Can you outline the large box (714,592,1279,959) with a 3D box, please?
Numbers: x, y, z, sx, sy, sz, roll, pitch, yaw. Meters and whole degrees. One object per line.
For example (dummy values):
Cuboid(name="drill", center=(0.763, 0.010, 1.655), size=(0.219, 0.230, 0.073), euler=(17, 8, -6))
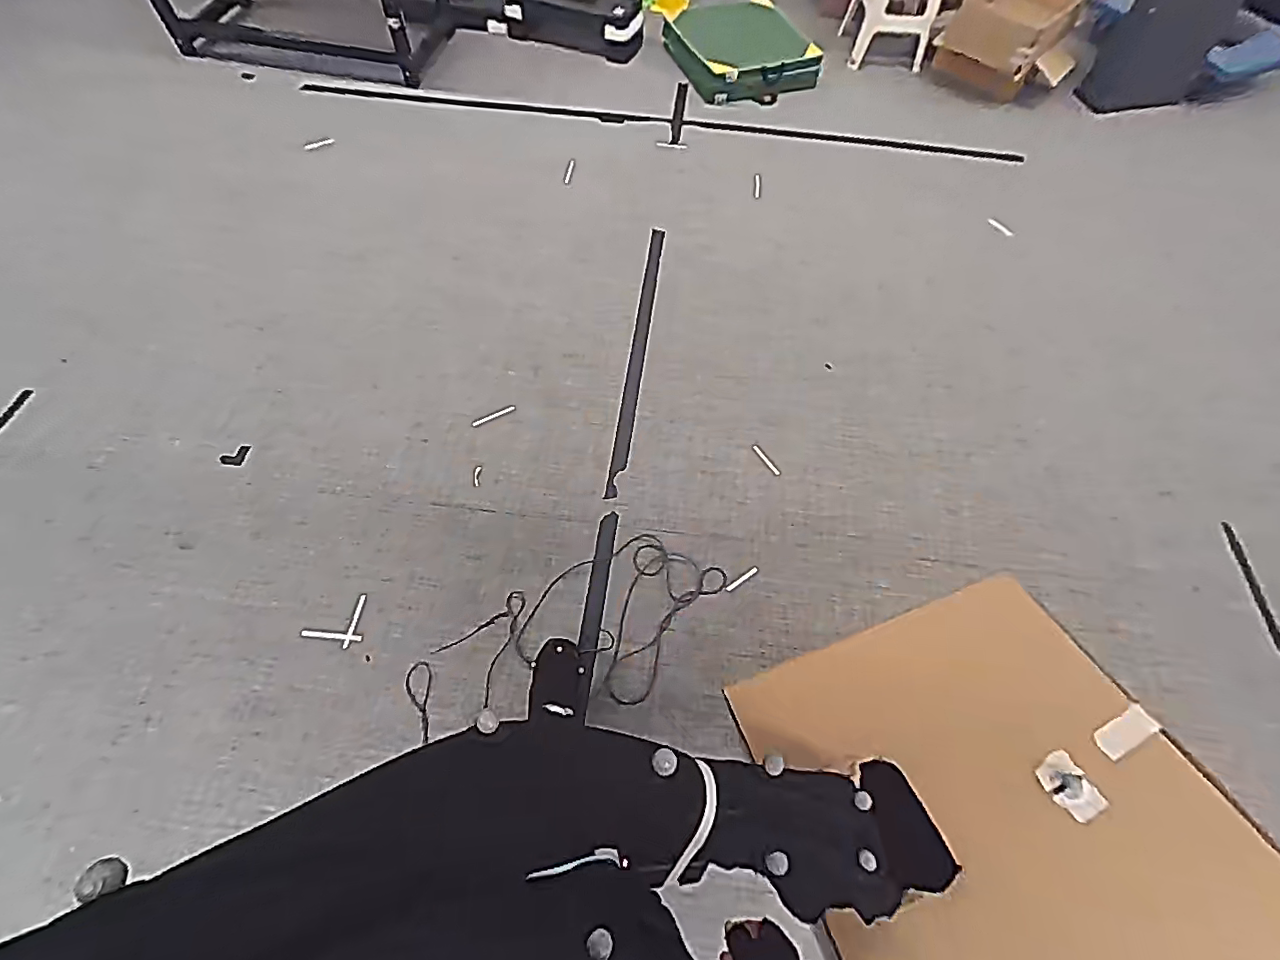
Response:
Cuboid(name="large box", center=(0.304, 0.392, 0.583), size=(0.320, 0.408, 0.320), euler=(-21, 45, -1))
